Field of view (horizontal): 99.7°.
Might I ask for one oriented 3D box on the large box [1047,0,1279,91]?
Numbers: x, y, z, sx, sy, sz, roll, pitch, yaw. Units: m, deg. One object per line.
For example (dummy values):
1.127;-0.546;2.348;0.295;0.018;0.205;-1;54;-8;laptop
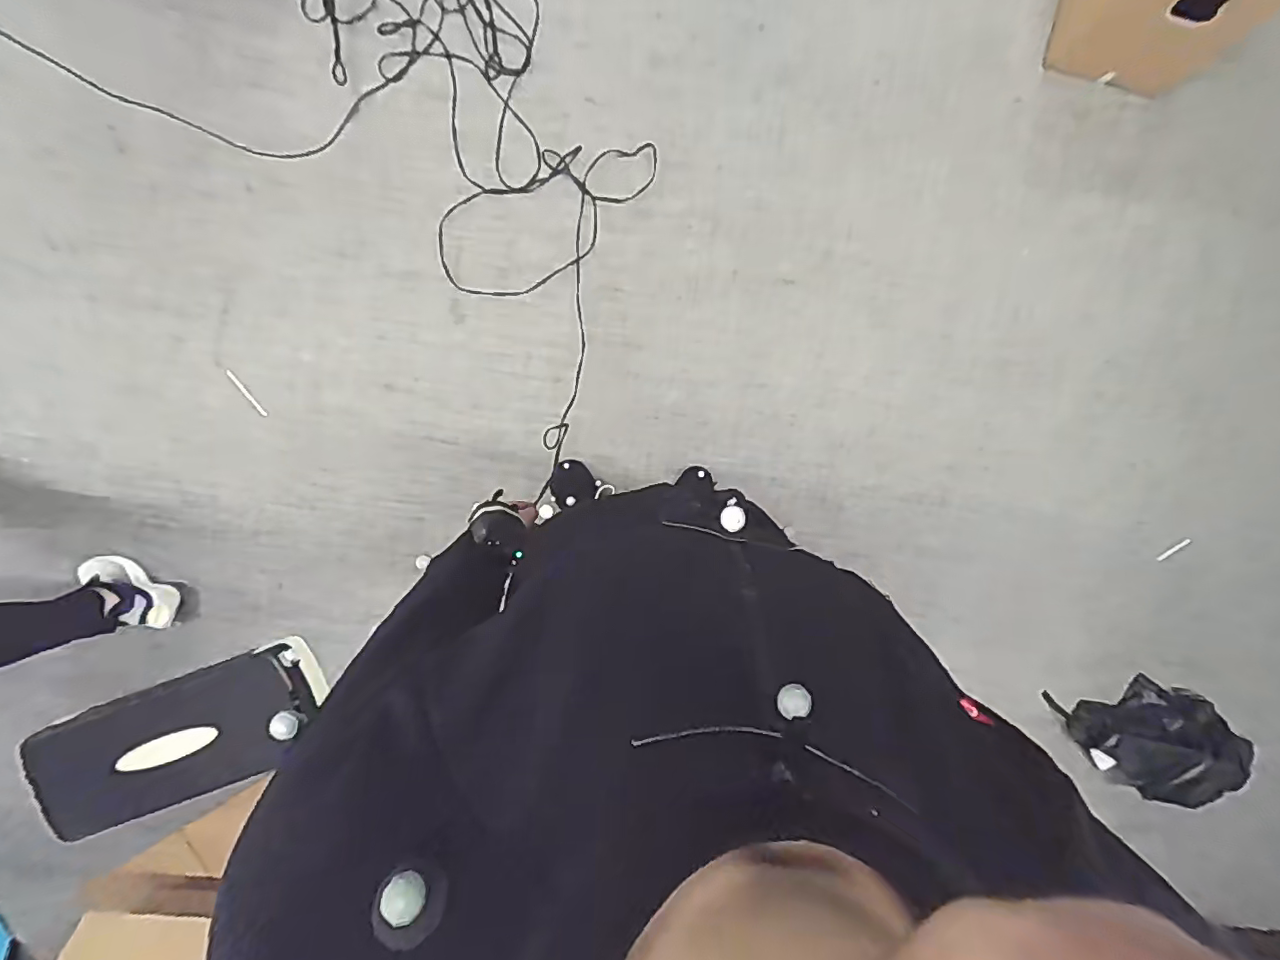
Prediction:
1.194;-1.183;1.186;0.320;0.320;0.408;12;94;-2;large box
